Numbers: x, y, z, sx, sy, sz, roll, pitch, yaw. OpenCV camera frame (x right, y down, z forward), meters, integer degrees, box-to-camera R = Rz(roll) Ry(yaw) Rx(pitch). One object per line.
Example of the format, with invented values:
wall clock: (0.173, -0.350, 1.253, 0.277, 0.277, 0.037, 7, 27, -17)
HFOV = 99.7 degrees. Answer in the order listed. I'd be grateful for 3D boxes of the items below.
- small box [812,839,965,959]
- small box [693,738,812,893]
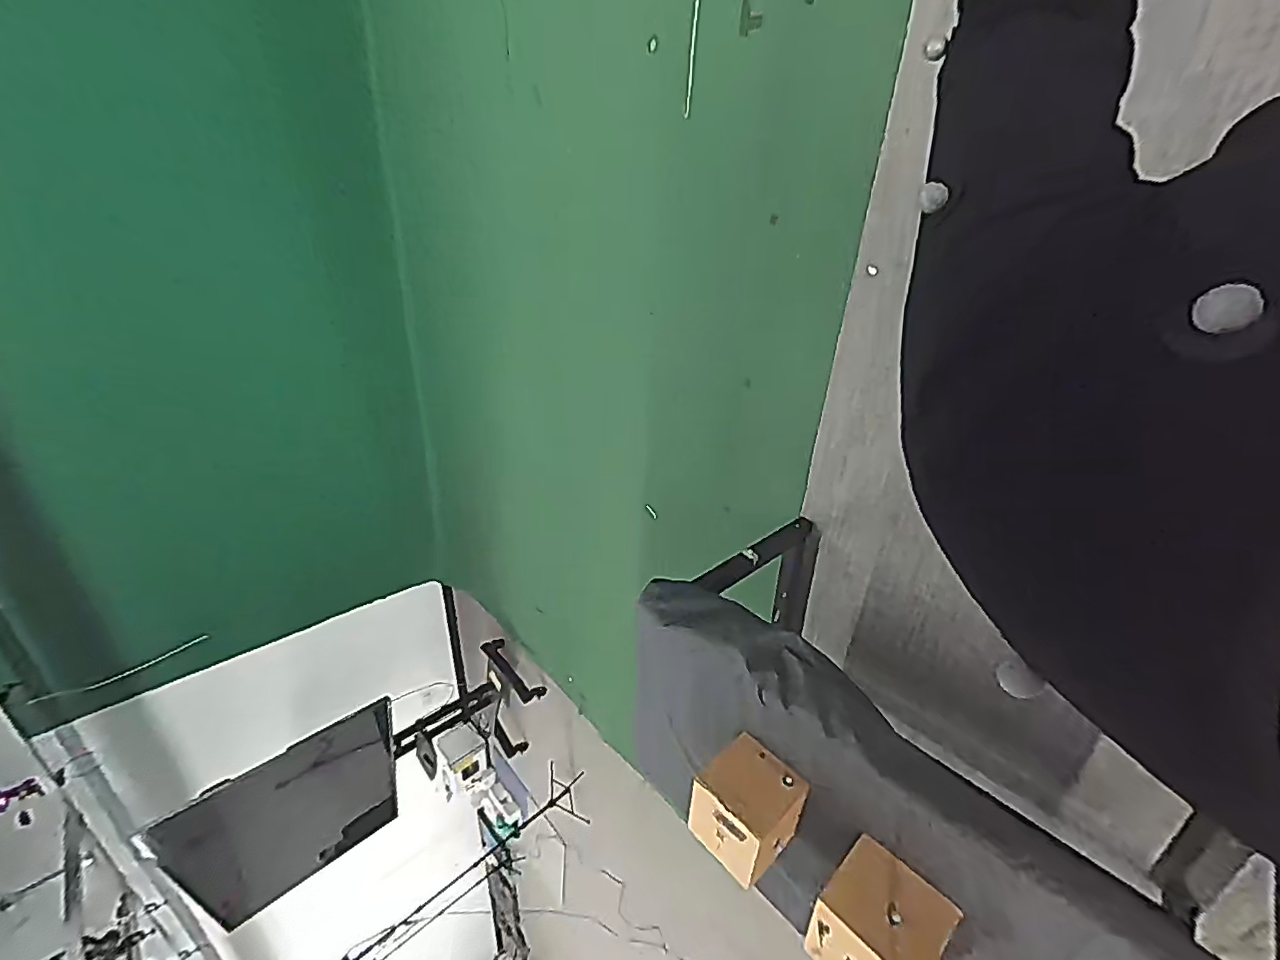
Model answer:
small box: (0.429, 0.782, 0.936, 0.179, 0.176, 0.168, 25, 124, 40)
small box: (0.233, 0.681, 1.119, 0.168, 0.176, 0.179, 28, 127, 40)
